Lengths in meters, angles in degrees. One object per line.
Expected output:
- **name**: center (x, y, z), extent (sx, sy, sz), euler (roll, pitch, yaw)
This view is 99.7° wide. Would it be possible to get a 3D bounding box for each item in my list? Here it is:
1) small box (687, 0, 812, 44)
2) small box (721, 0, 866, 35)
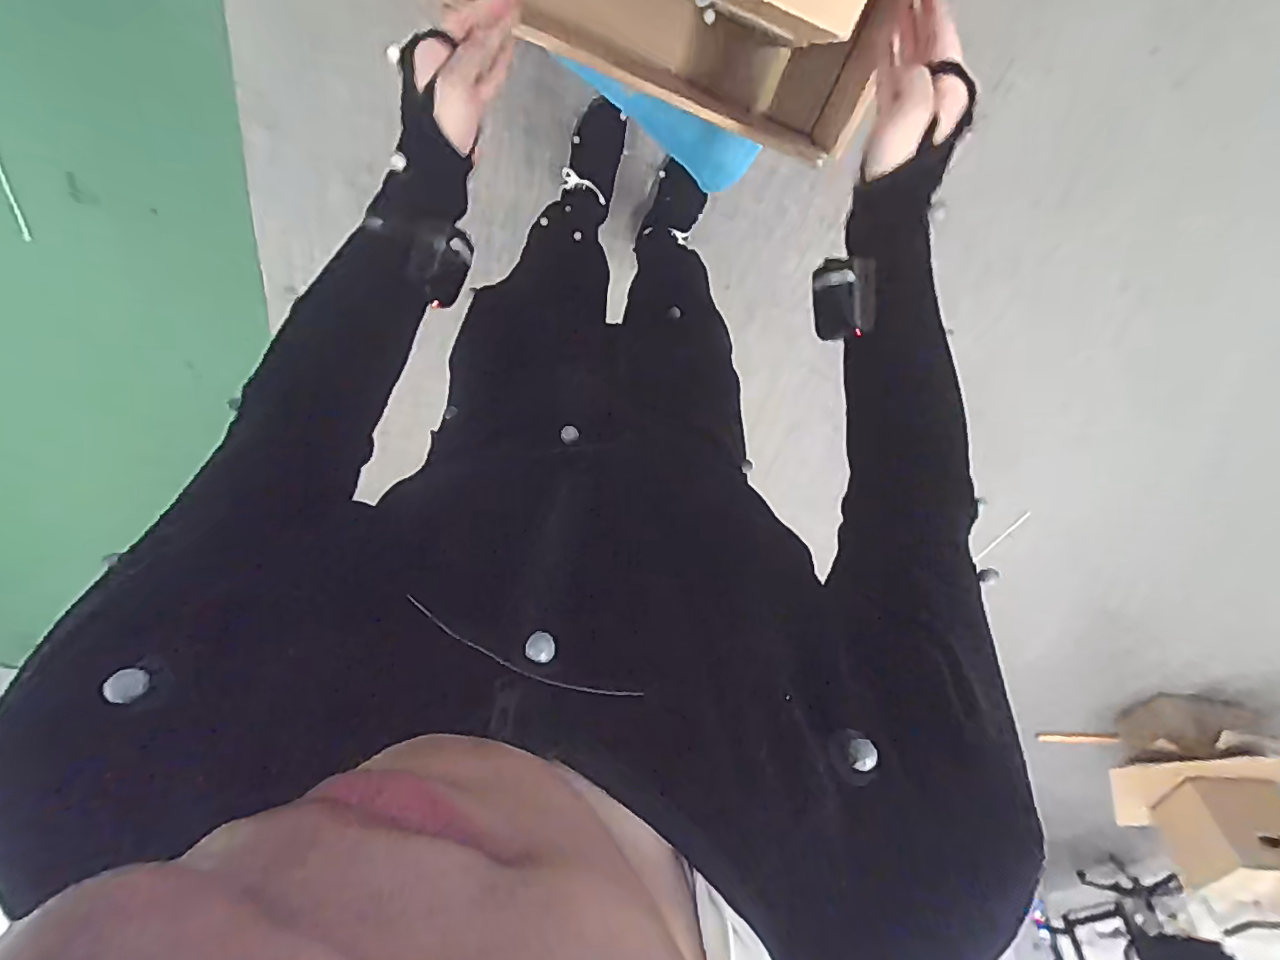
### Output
- **small box**: center (0.106, -0.525, 0.487), extent (0.179, 0.176, 0.168), euler (19, 128, -9)
- **small box**: center (0.093, -0.424, 0.358), extent (0.179, 0.176, 0.168), euler (19, 129, -6)
